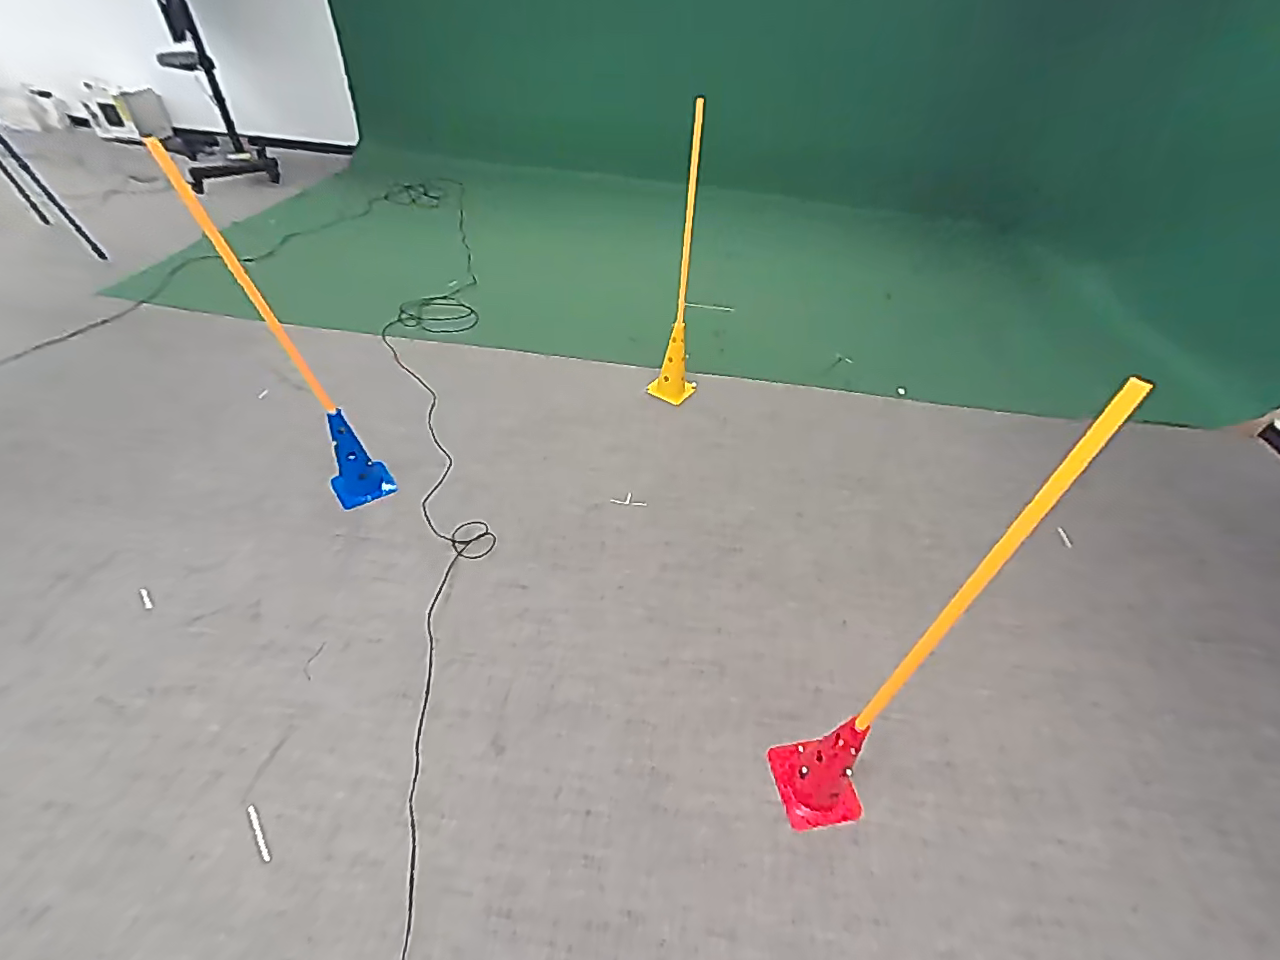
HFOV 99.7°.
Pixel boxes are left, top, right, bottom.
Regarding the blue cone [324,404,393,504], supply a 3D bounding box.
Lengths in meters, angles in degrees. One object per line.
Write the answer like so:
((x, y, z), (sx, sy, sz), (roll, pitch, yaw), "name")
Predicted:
((-1.044, -0.107, 1.934), (0.193, 0.380, 0.192), (-28, 54, -28), "blue cone")
